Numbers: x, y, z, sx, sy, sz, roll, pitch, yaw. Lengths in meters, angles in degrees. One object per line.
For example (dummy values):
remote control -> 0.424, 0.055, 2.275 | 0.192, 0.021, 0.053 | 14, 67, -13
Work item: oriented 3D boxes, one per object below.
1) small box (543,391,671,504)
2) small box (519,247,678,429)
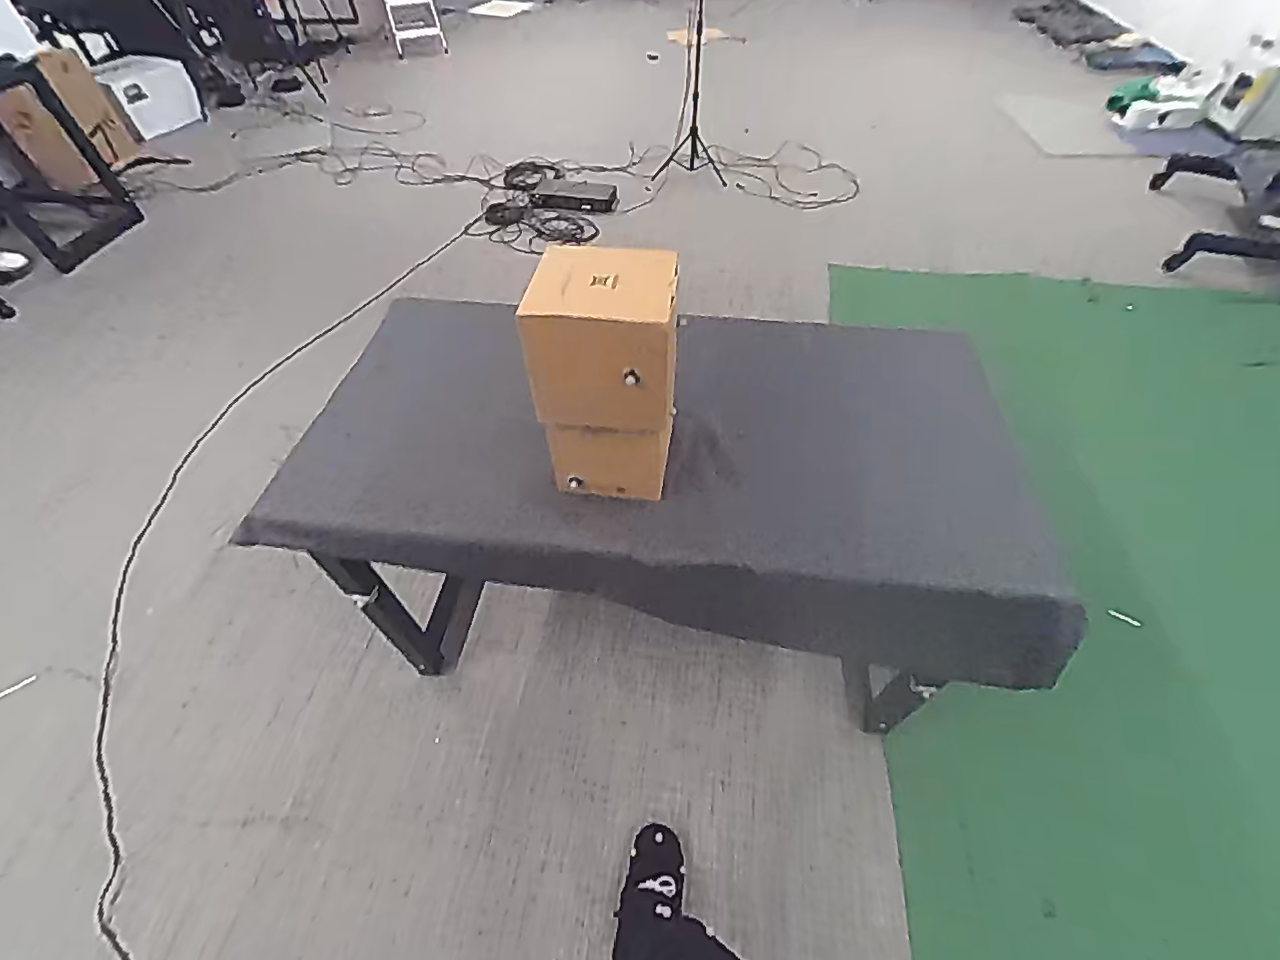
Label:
small box -> -0.040, -0.081, 0.852 | 0.168, 0.176, 0.179 | 6, 50, 6
small box -> -0.044, -0.180, 0.703 | 0.179, 0.176, 0.168 | 2, 50, 2
